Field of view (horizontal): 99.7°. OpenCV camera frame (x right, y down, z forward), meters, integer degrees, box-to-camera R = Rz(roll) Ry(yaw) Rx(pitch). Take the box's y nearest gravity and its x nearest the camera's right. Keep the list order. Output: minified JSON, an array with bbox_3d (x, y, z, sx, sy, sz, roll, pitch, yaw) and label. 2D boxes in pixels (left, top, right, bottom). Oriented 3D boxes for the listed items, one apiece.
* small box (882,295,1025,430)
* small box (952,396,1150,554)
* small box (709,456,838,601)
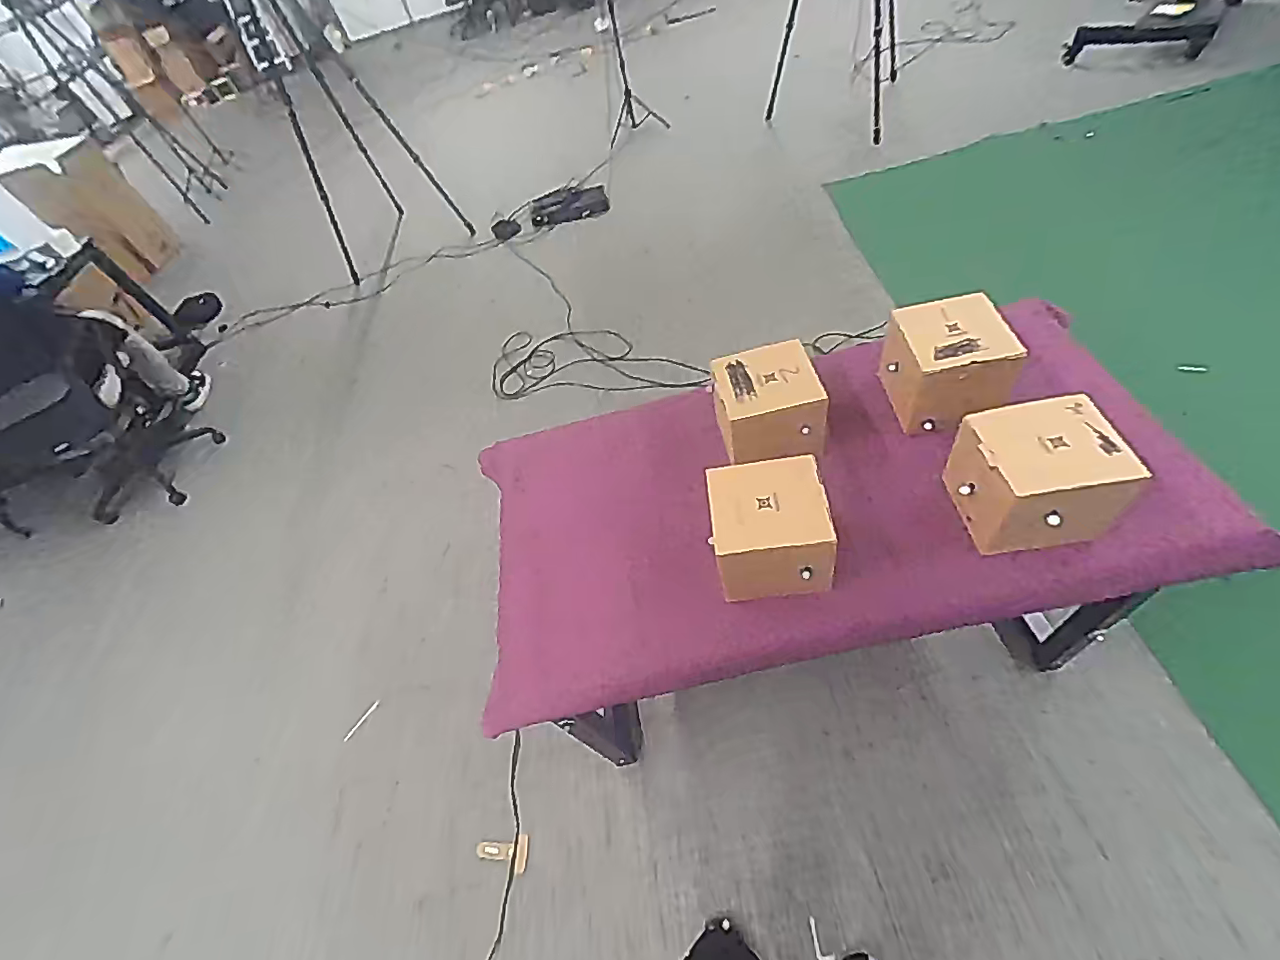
[{"bbox_3d":[0.569,-0.210,1.009,0.168,0.176,0.179,-9,52,8],"label":"small box"},{"bbox_3d":[0.611,-0.001,0.841,0.179,0.176,0.168,-10,51,9],"label":"small box"},{"bbox_3d":[0.213,0.084,0.886,0.179,0.176,0.168,-8,51,10],"label":"small box"}]
